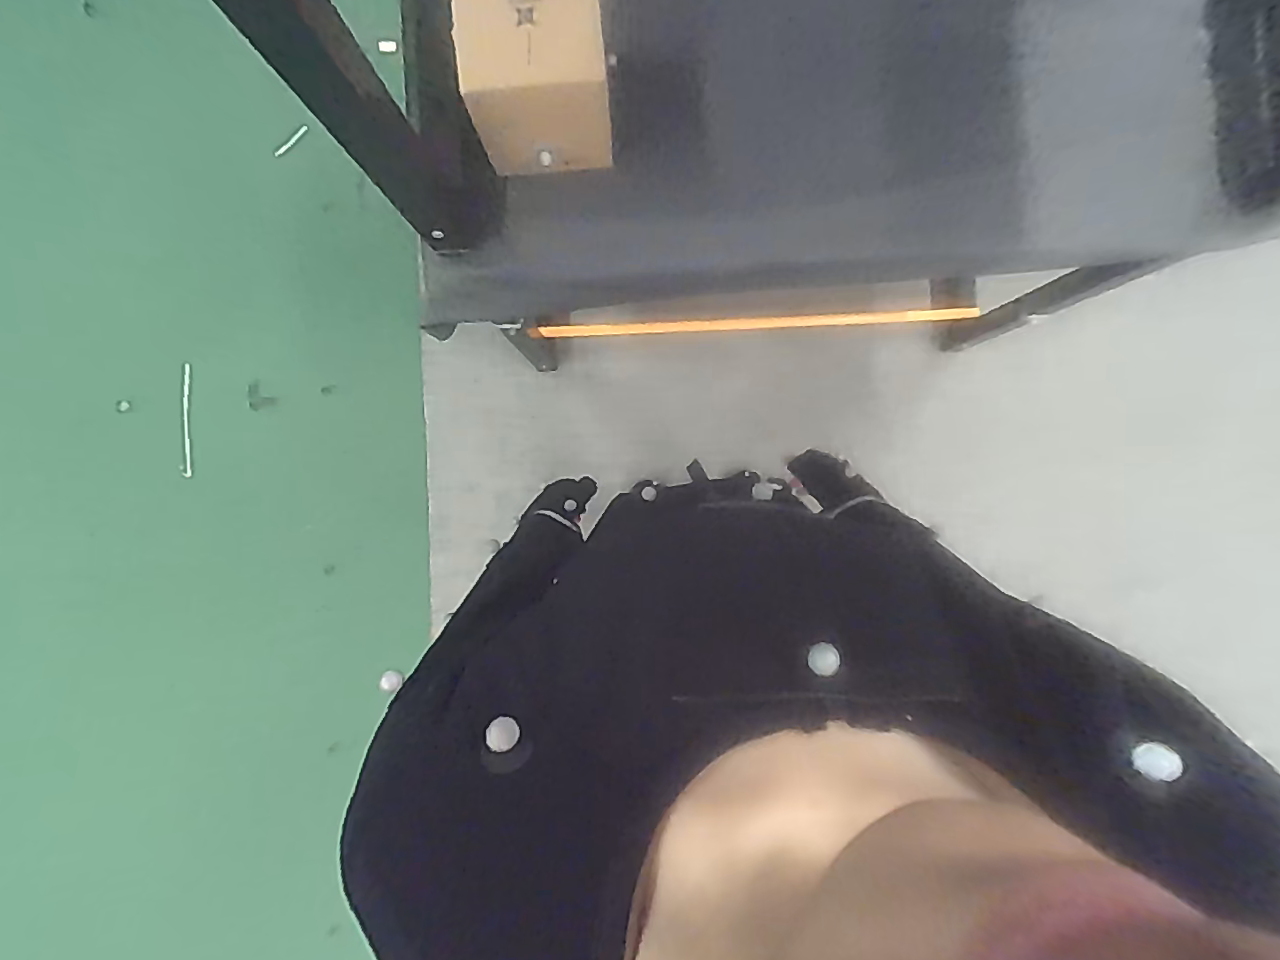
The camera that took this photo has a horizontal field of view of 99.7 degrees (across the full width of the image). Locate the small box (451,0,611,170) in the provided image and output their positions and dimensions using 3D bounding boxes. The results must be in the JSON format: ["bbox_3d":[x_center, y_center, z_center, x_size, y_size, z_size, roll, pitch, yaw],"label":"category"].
[{"bbox_3d":[-0.127,-0.524,0.673,0.168,0.176,0.179,-5,90,0],"label":"small box"}]
